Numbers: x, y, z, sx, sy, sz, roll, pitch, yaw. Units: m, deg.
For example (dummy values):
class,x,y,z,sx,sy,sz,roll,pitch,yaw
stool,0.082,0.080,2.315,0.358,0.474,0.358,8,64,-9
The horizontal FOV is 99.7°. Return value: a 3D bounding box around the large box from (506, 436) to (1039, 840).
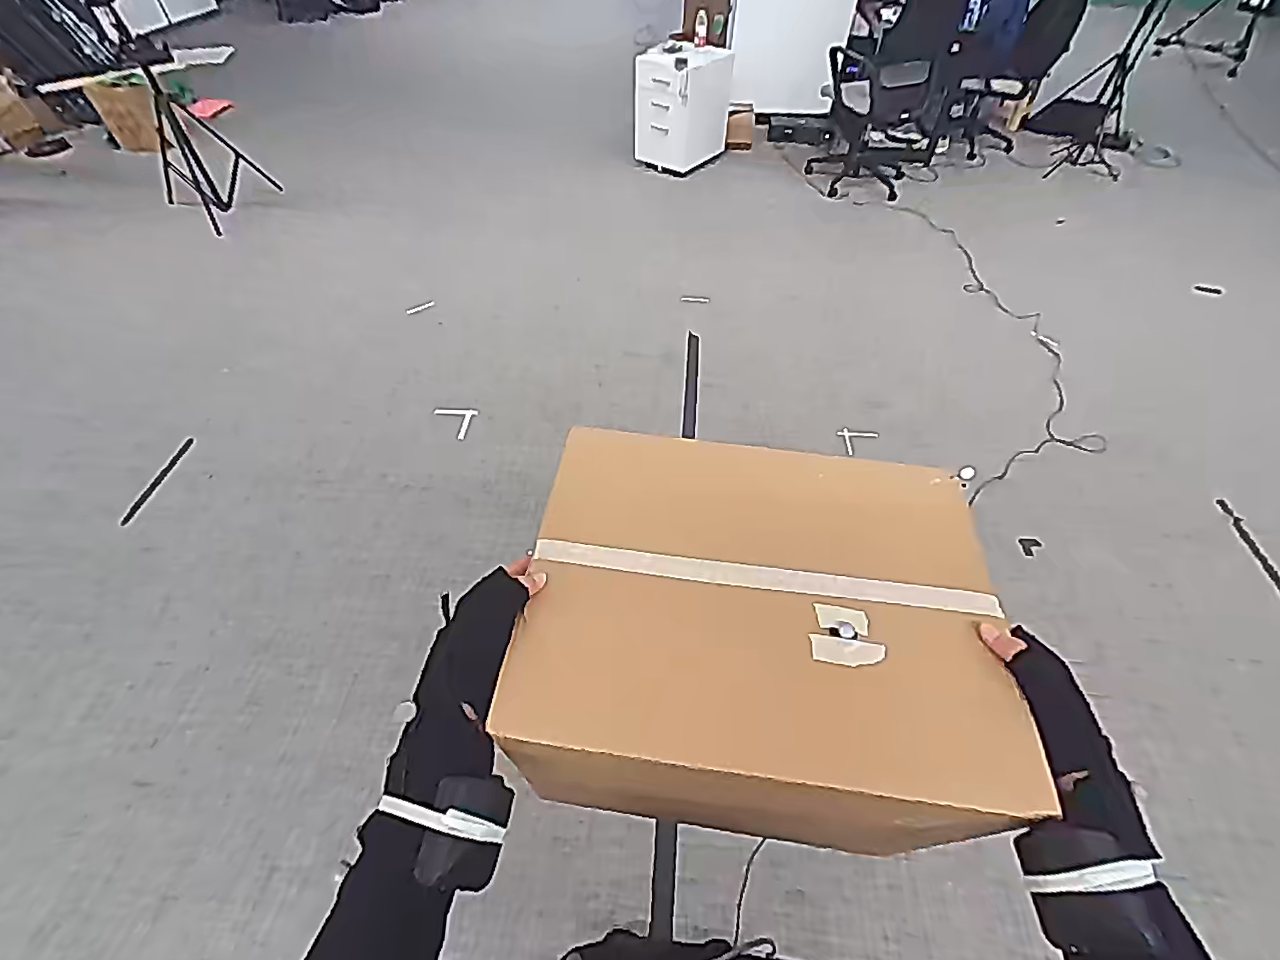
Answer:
class,x,y,z,sx,sy,sz,roll,pitch,yaw
large box,0.105,0.182,0.605,0.408,0.320,0.320,7,53,4
